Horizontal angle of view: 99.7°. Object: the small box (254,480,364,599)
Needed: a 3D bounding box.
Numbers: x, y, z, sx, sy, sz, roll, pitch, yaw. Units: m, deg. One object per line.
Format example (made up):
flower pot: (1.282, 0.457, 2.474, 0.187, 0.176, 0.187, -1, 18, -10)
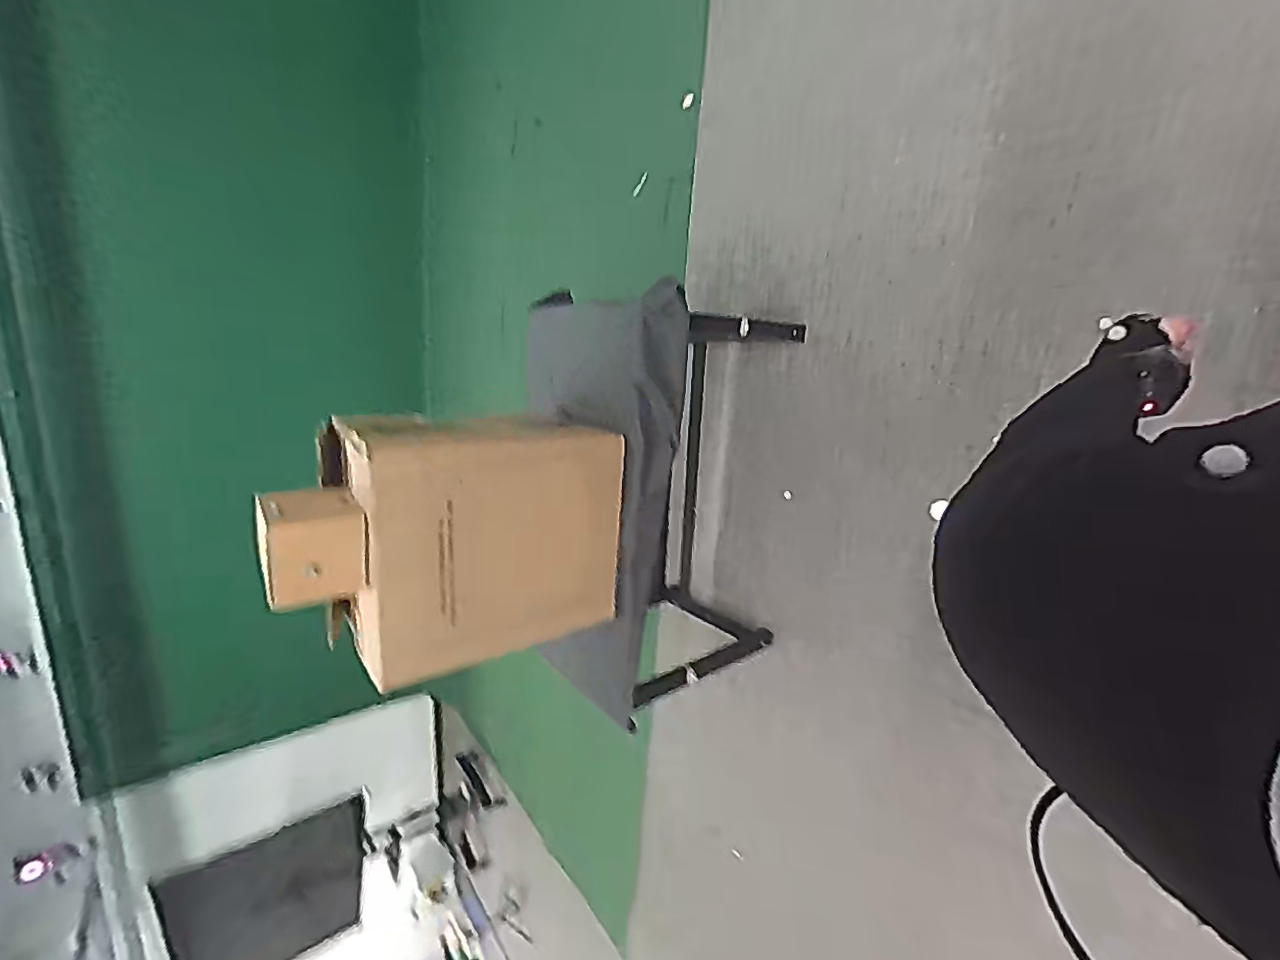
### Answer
small box: (-0.675, 0.114, 1.110, 0.168, 0.176, 0.179, 28, 117, 45)
